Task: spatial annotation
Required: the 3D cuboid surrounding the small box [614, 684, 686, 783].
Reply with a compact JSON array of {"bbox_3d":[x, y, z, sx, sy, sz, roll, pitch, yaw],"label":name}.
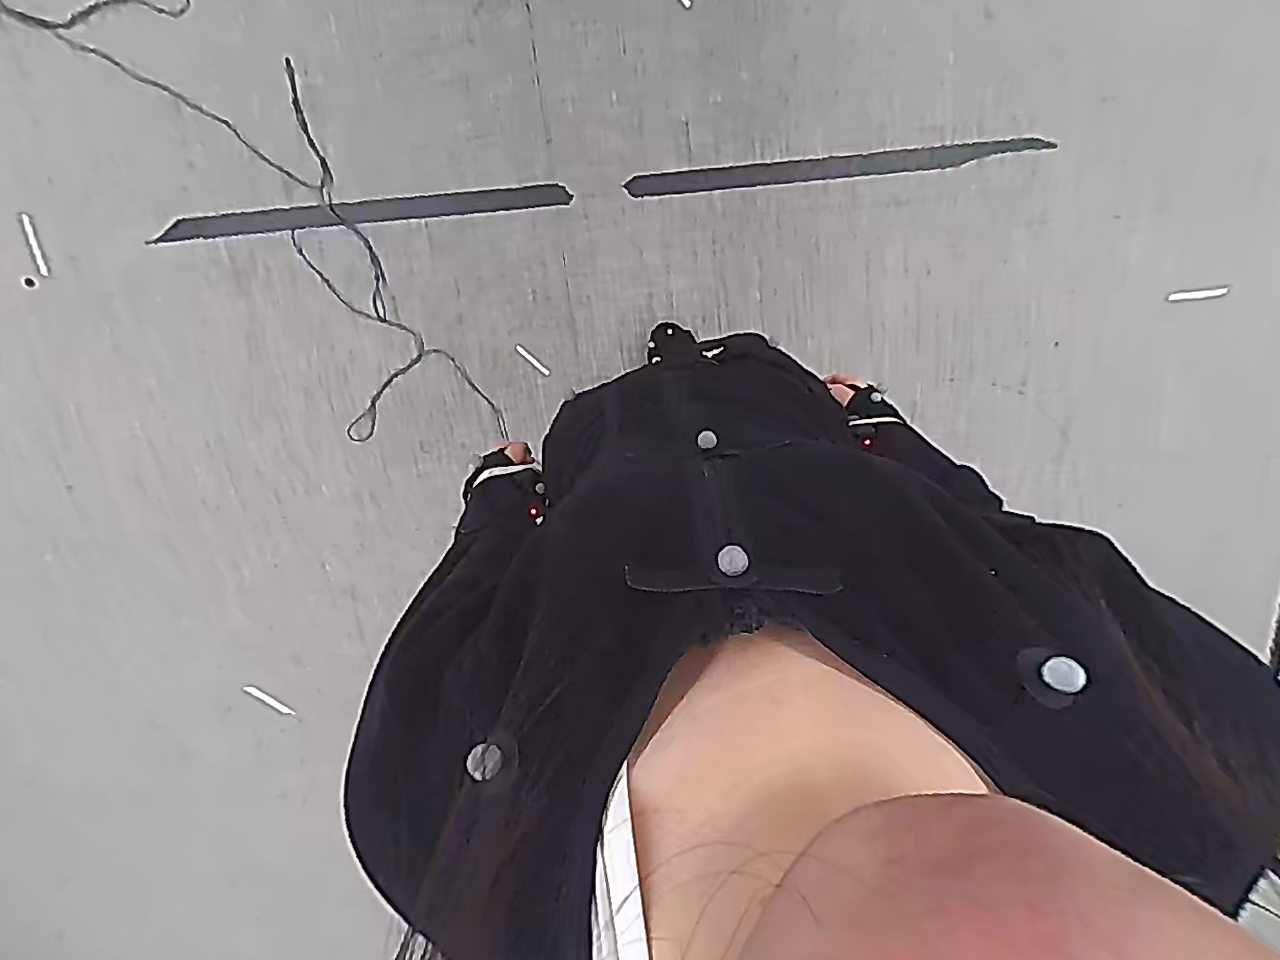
[{"bbox_3d":[0.028,0.729,1.565,0.168,0.176,0.179,-15,104,1],"label":"small box"}]
